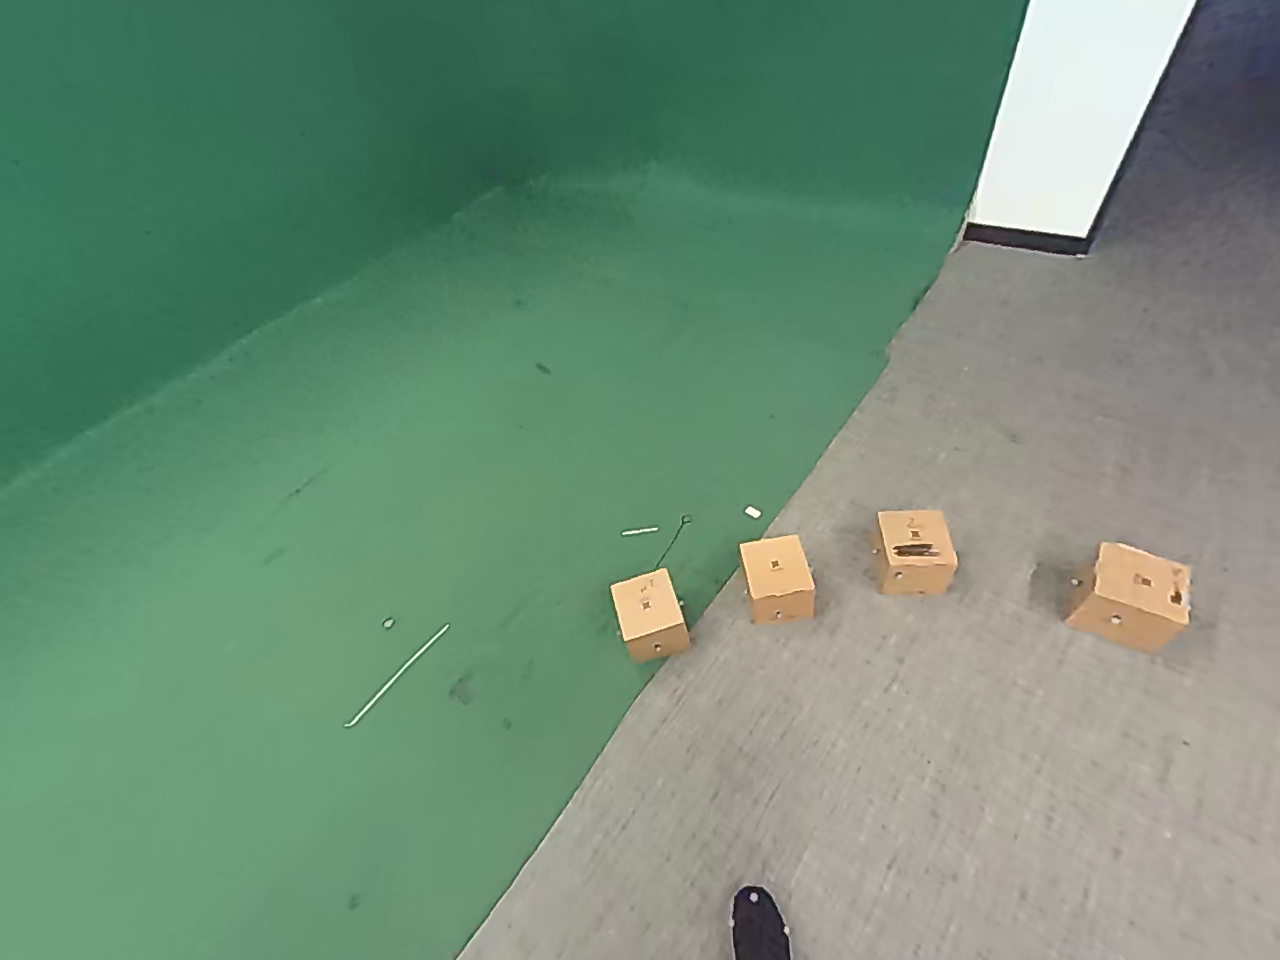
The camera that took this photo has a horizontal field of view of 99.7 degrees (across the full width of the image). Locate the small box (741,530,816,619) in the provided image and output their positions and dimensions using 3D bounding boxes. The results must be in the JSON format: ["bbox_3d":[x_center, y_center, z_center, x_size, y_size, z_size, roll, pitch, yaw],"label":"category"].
[{"bbox_3d":[0.384,0.269,1.523,0.168,0.176,0.179,-11,50,5],"label":"small box"}]

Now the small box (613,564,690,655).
[{"bbox_3d":[0.036,0.372,1.518,0.168,0.176,0.179,-17,49,-2],"label":"small box"}]

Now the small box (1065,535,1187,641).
[{"bbox_3d":[1.186,0.268,1.331,0.179,0.176,0.168,20,59,27],"label":"small box"}]
